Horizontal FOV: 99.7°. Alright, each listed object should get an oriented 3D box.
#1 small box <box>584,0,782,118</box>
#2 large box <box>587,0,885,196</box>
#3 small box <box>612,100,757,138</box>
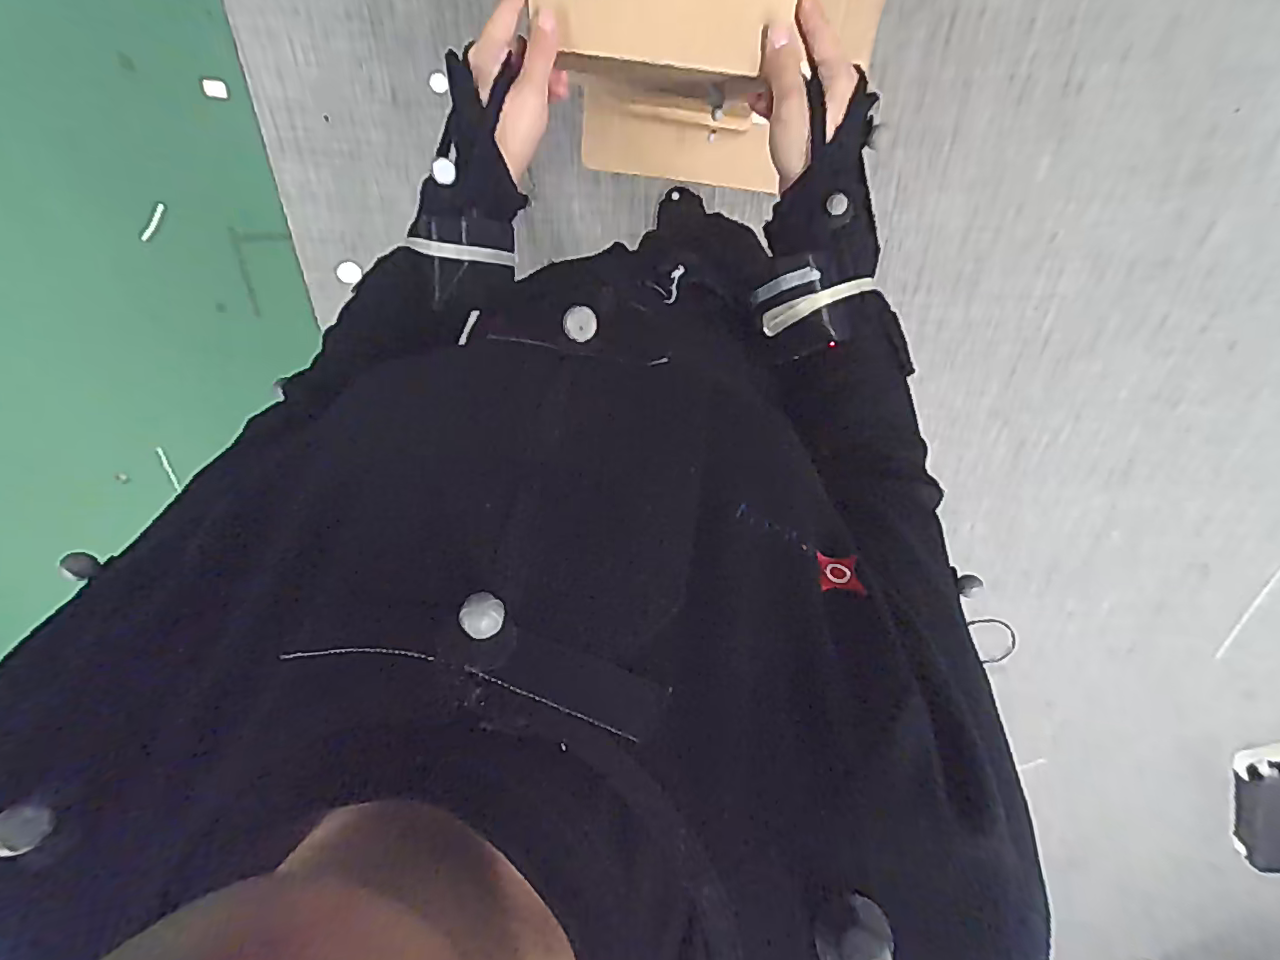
[{"bbox_3d":[0.048,-0.479,0.550,0.179,0.176,0.168,8,120,1],"label":"small box"},{"bbox_3d":[0.135,-0.672,0.898,0.408,0.320,0.320,7,122,1],"label":"large box"},{"bbox_3d":[0.069,-0.548,0.696,0.179,0.176,0.168,9,120,2],"label":"small box"}]
